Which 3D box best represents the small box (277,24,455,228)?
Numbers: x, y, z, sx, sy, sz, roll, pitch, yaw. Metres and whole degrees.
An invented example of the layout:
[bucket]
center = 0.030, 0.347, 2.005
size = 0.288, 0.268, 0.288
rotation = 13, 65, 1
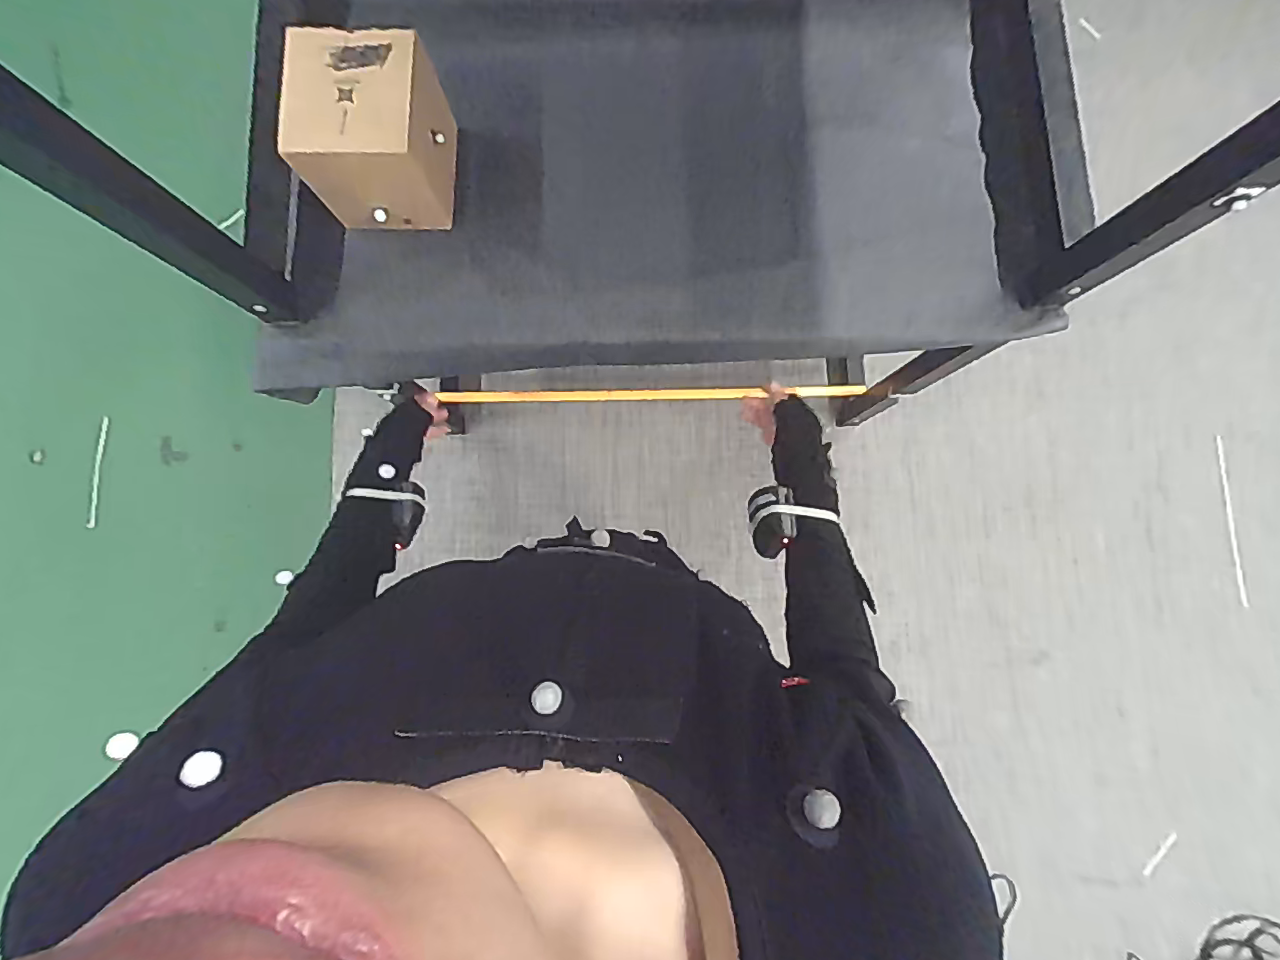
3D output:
[small box]
center = -0.369, -0.486, 0.761
size = 0.168, 0.176, 0.179
rotation = 0, 84, -1
